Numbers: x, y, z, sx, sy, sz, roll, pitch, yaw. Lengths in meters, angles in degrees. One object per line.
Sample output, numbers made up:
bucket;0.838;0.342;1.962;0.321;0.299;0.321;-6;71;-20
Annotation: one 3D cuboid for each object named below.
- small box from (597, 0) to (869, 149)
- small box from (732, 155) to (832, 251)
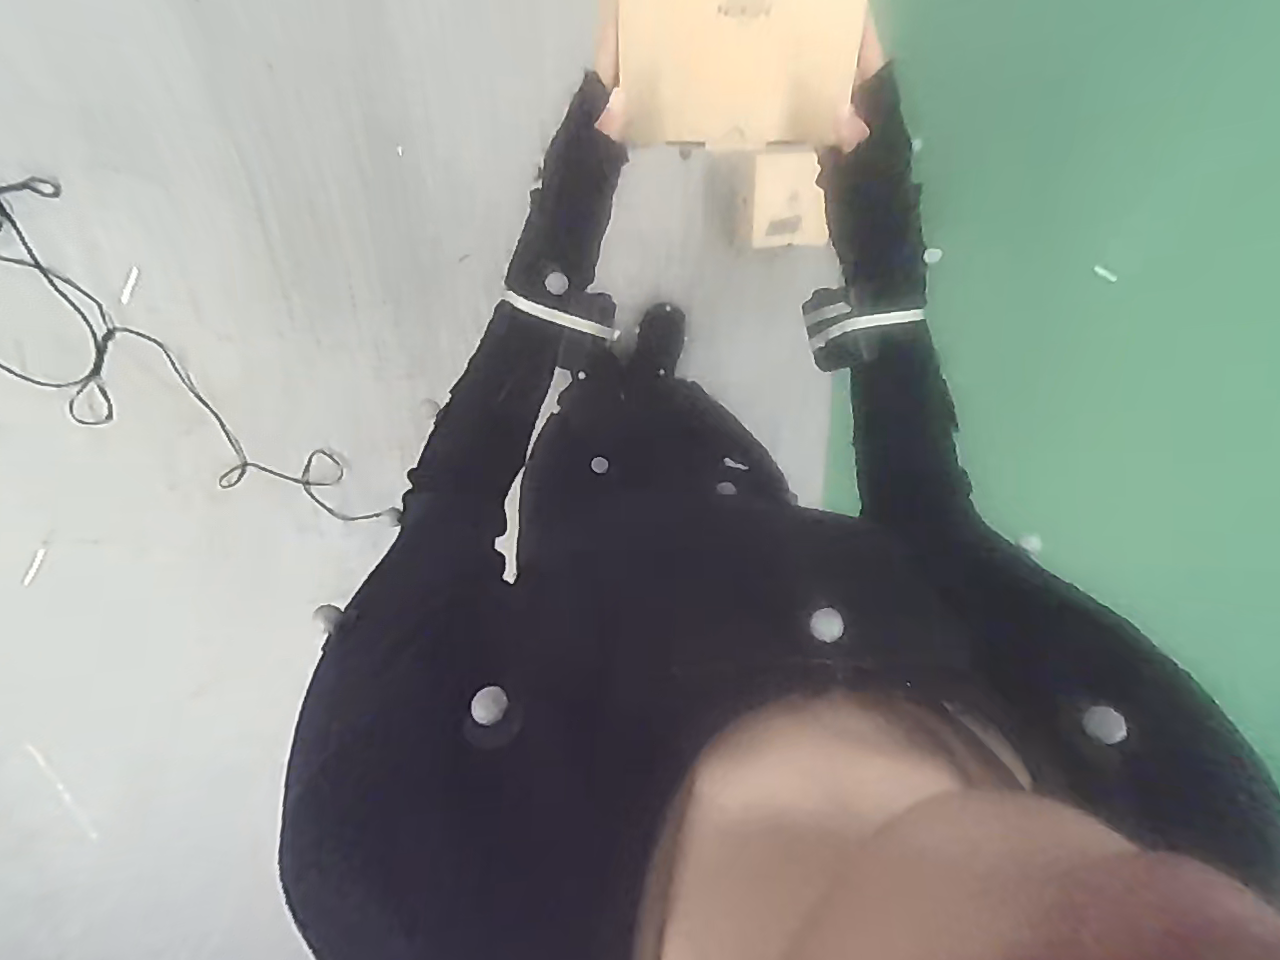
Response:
small box;0.056;-0.353;0.405;0.168;0.176;0.179;-5;125;-6
small box;0.304;-0.603;1.194;0.168;0.176;0.179;-3;112;-4
